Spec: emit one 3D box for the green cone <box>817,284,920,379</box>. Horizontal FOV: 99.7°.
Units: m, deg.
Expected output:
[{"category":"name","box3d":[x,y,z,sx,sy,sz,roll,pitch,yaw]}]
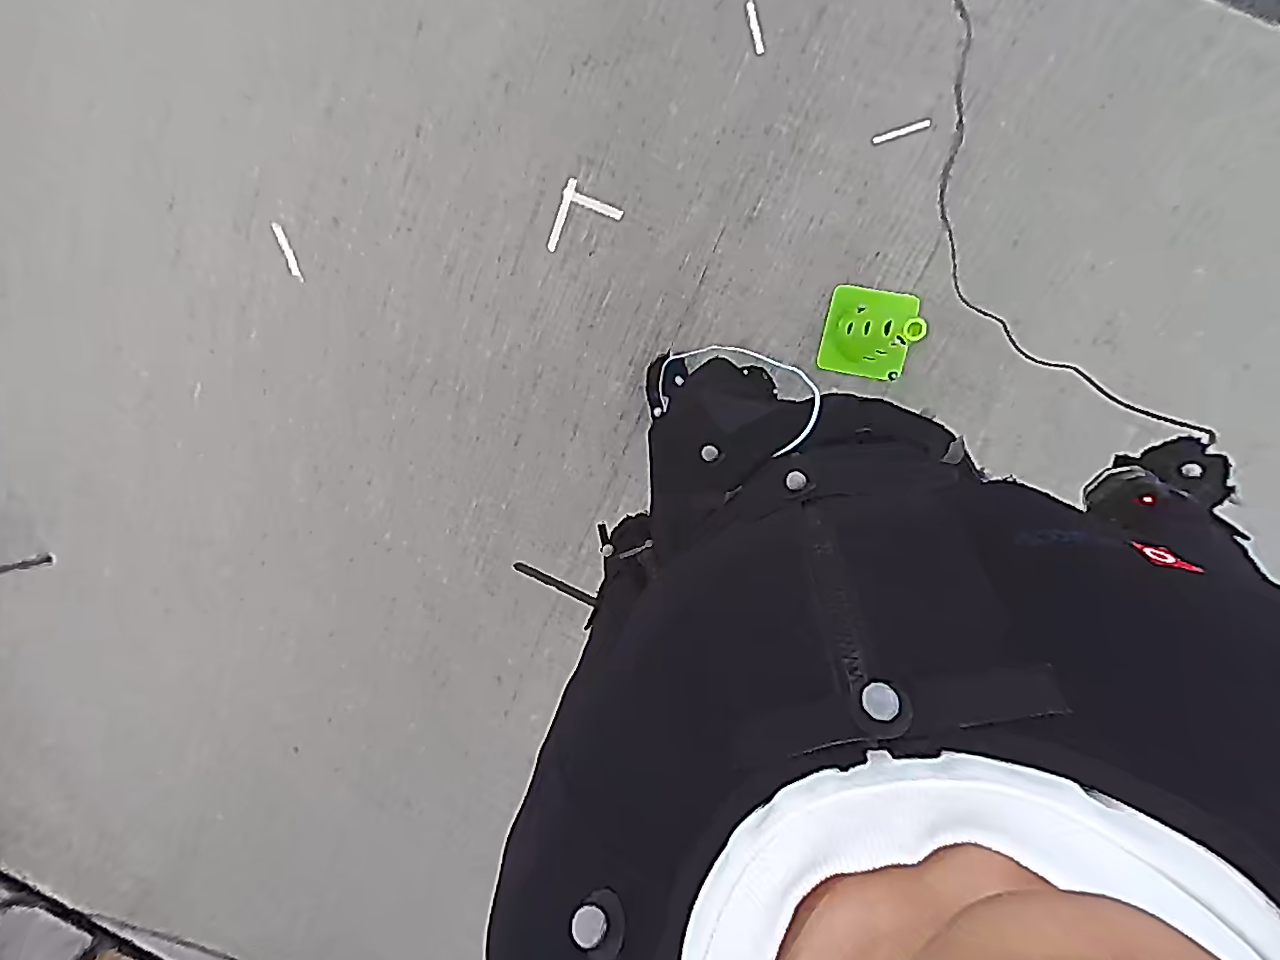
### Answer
[{"category":"green cone","box3d":[0.511,-0.316,1.124,0.202,0.368,0.200,11,104,8]}]
